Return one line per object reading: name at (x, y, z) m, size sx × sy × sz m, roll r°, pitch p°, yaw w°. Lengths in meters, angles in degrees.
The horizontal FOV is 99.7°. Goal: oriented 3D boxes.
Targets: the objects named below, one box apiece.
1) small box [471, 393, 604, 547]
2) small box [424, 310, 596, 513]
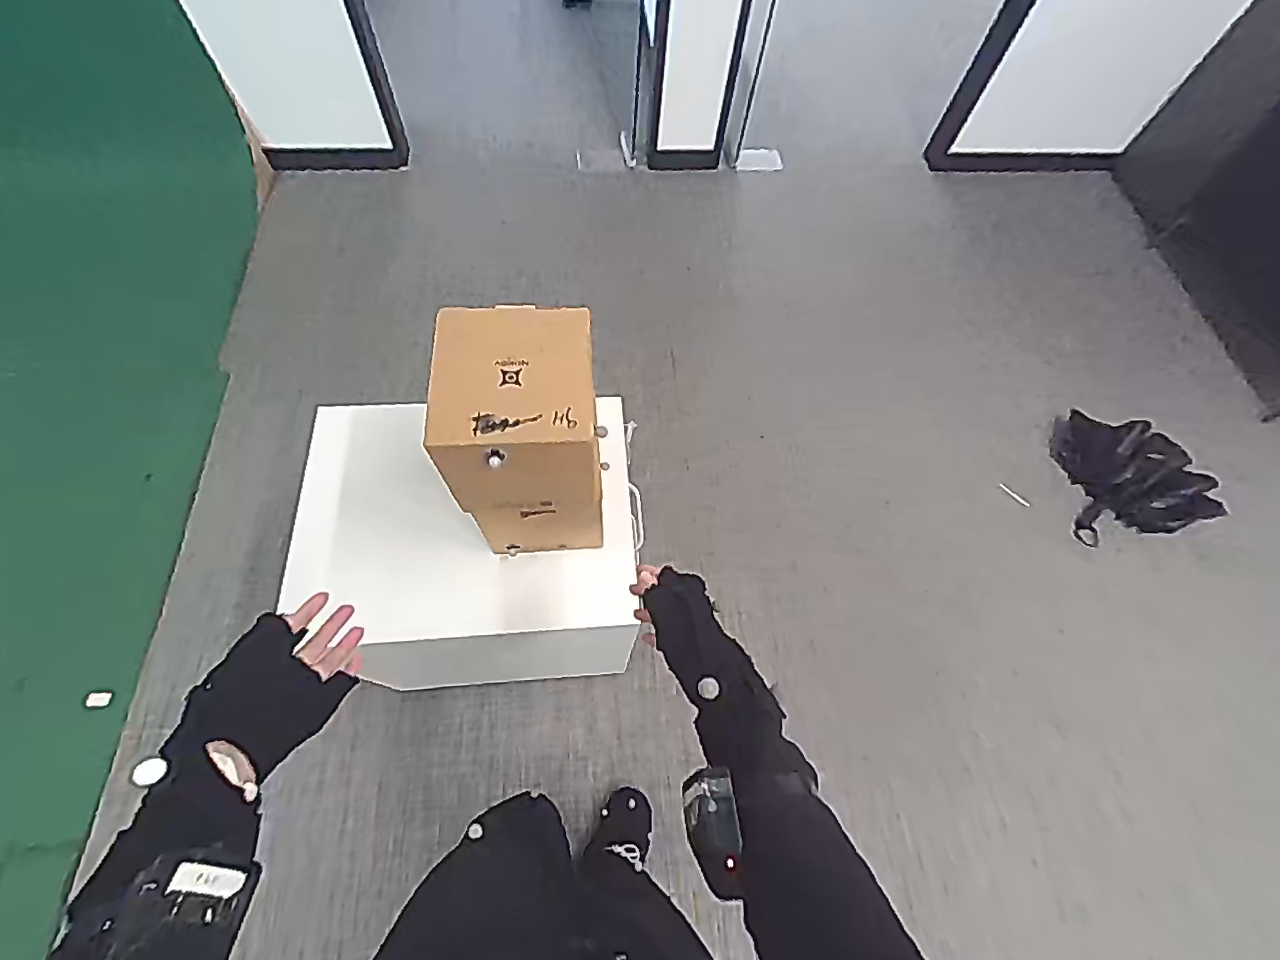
small box at (-0.140, -0.008, 0.784) m, size 0.168 × 0.176 × 0.179 m, roll -4°, pitch 64°, yaw -5°
small box at (-0.138, -0.075, 0.636) m, size 0.168 × 0.176 × 0.179 m, roll -3°, pitch 64°, yaw -4°
